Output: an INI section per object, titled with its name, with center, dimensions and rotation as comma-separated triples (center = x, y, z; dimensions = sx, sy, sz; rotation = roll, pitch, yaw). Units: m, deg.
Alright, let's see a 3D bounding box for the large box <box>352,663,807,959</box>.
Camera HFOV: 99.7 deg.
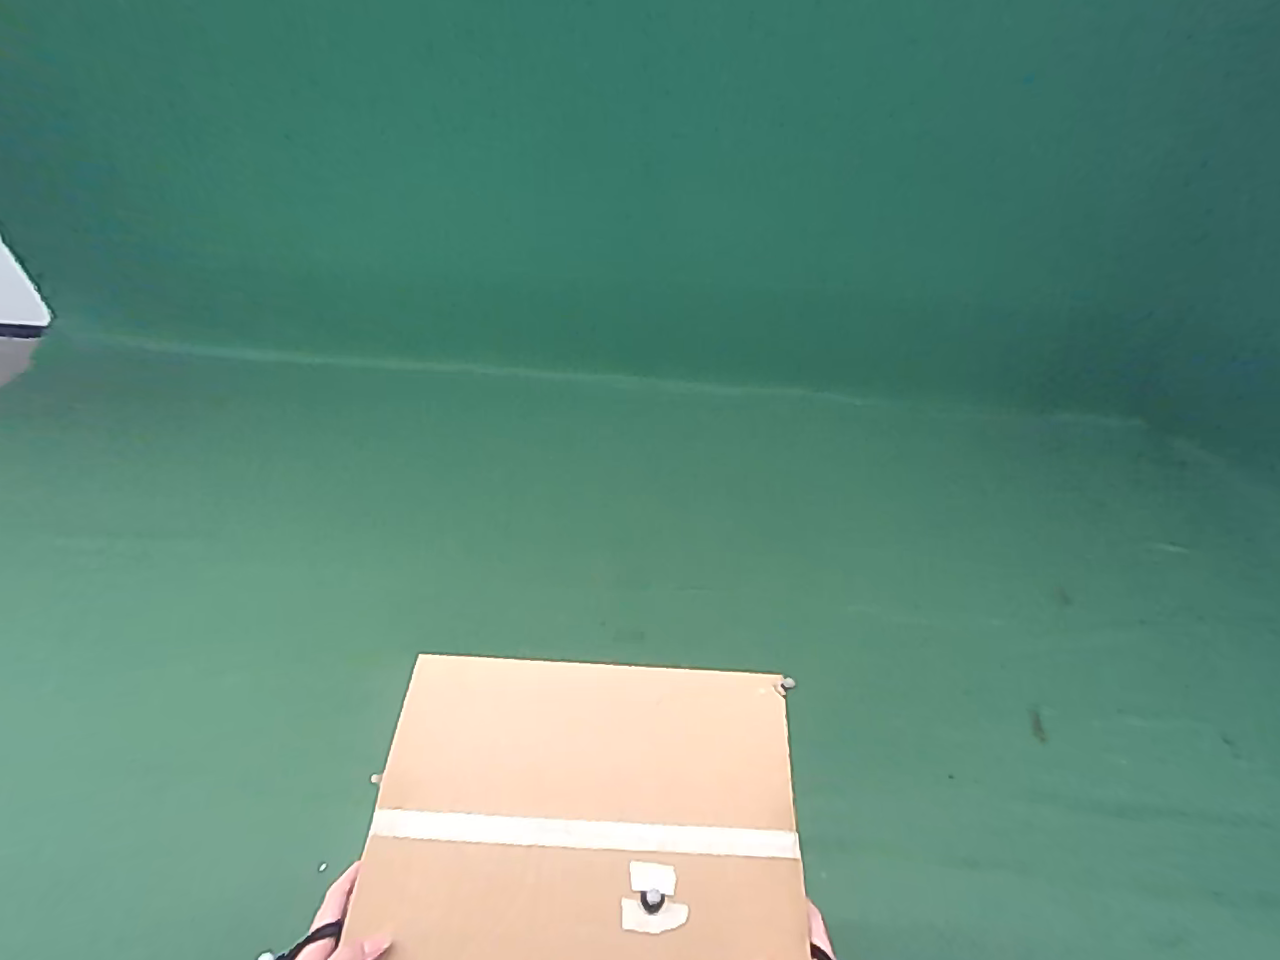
[large box]
center = -0.054, 0.422, 0.645
dimensions = 0.408, 0.320, 0.320
rotation = 3, 57, 0
